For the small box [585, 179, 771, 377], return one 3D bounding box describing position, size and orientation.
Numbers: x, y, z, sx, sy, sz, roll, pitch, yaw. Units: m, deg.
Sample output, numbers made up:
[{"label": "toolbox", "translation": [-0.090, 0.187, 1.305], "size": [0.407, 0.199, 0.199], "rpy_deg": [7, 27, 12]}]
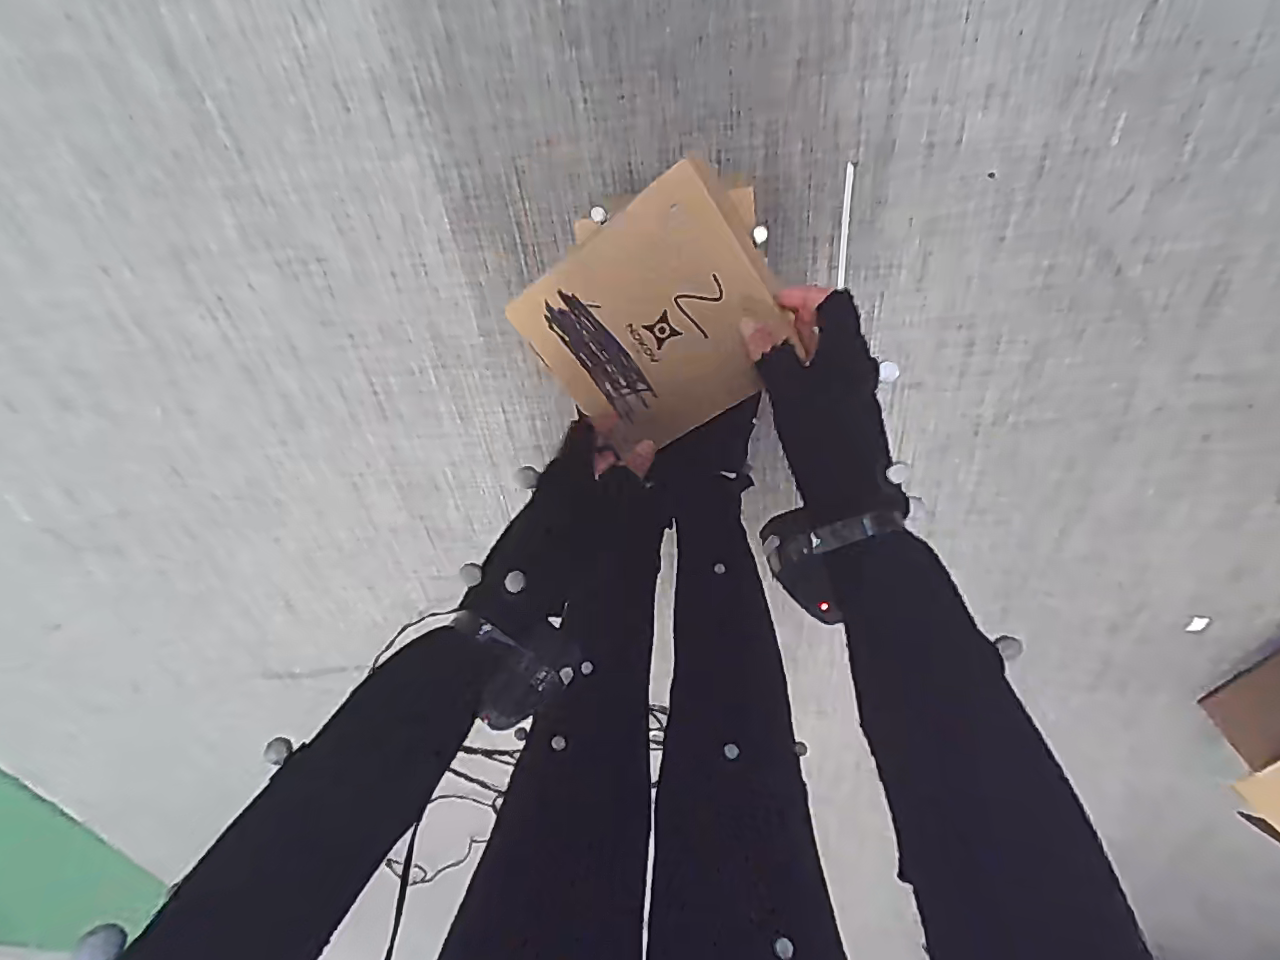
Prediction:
[{"label": "small box", "translation": [0.050, -0.236, 0.622], "size": [0.179, 0.176, 0.168], "rpy_deg": [-5, 122, 11]}]
